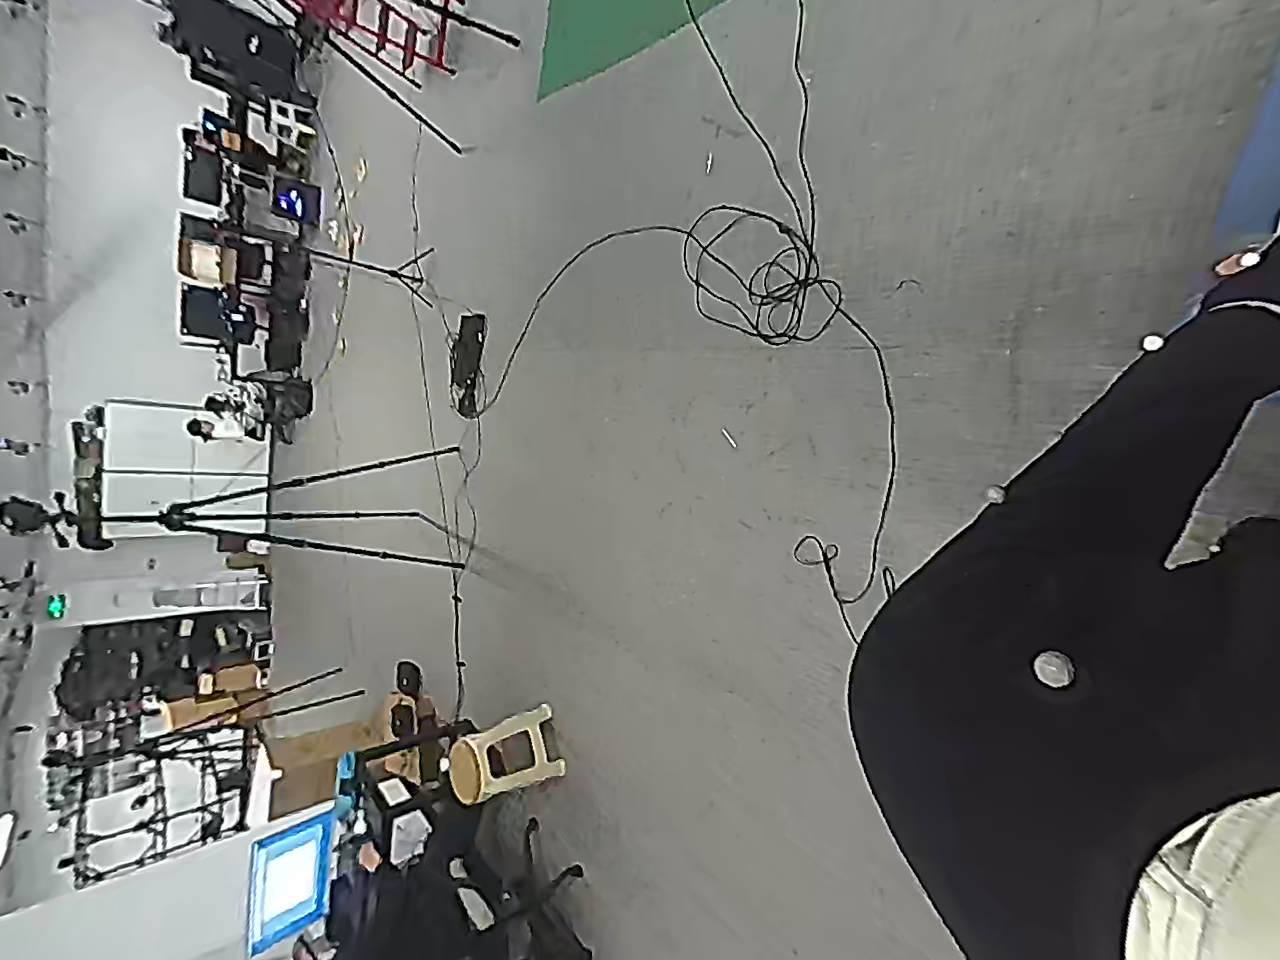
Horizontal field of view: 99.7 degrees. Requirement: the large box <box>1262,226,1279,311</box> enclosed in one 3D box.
[{"bbox_3d":[1.157,-0.459,0.735,0.320,0.320,0.408,25,106,43],"label":"large box"}]
